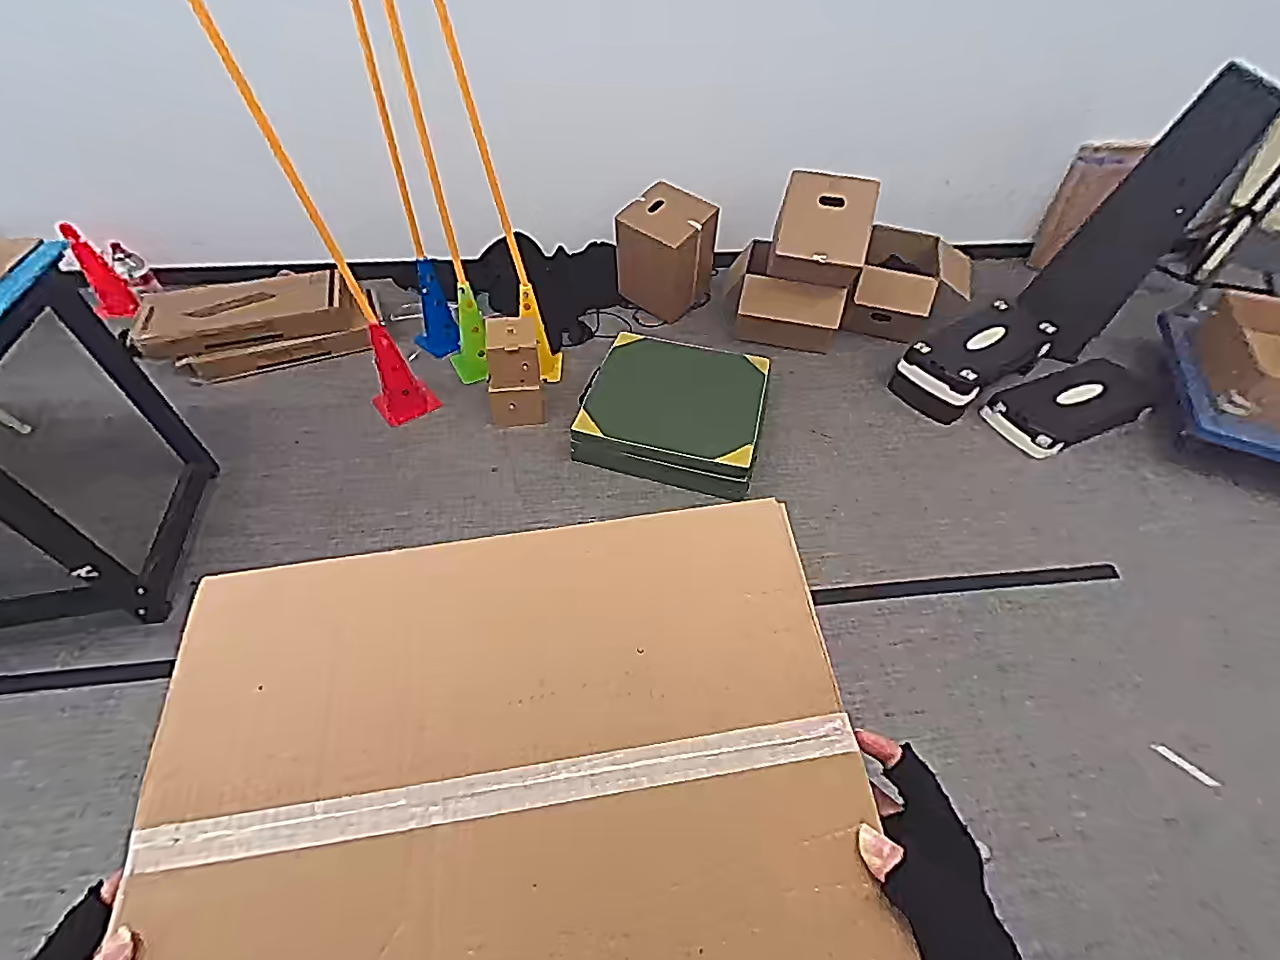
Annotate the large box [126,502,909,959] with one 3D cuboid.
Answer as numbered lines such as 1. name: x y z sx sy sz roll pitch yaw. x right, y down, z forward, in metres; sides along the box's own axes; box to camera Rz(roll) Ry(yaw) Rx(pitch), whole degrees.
1. large box: -0.072 0.246 0.448 0.408 0.320 0.320 -8 61 -3
